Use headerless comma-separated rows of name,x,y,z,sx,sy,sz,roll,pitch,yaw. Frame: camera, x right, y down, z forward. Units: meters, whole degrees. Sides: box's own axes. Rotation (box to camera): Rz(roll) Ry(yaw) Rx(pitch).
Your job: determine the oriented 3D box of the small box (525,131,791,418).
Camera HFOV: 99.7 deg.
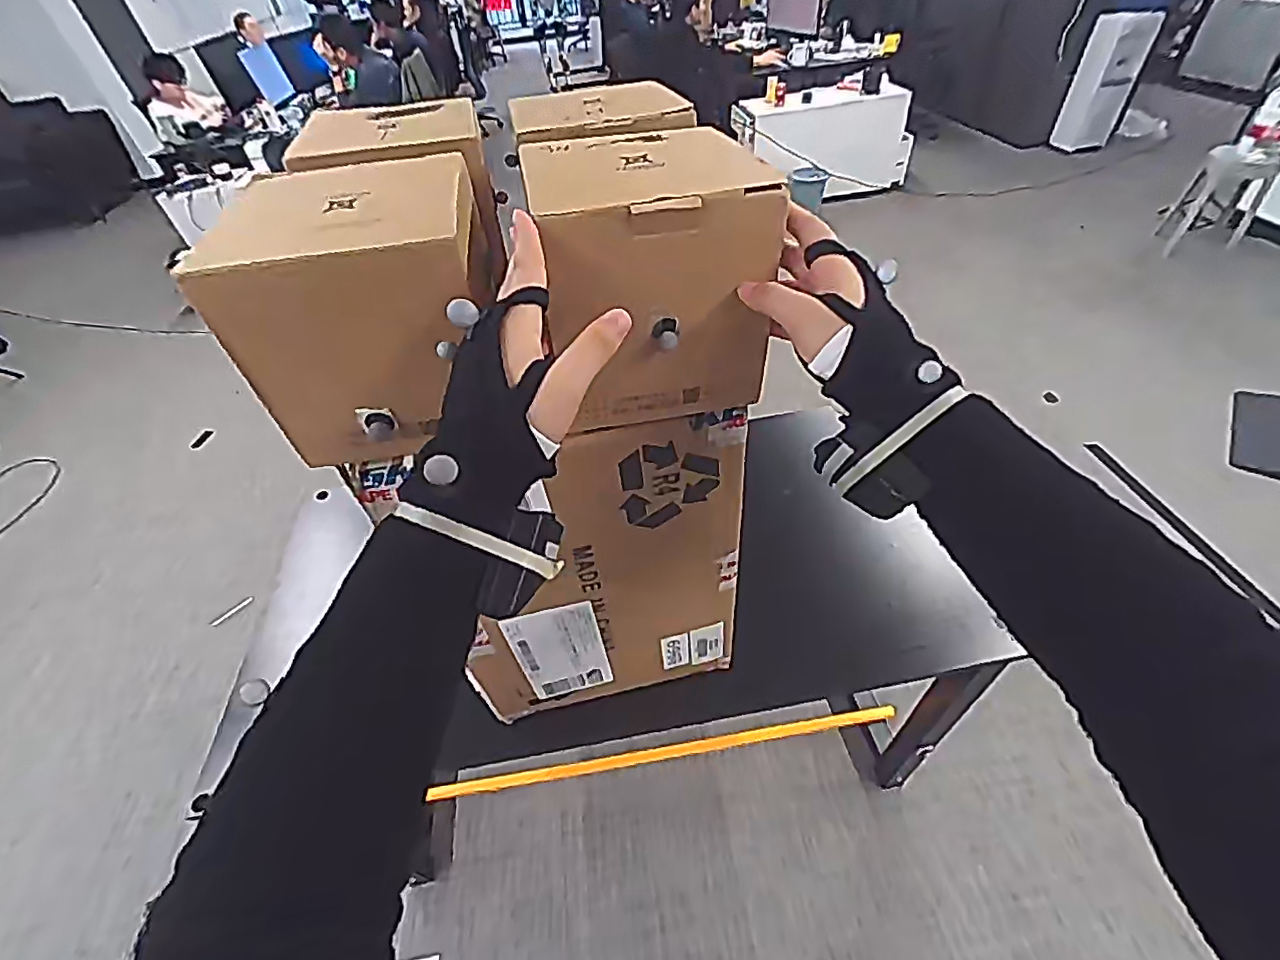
small box,0.004,-0.164,0.444,0.168,0.176,0.179,-8,45,-8
